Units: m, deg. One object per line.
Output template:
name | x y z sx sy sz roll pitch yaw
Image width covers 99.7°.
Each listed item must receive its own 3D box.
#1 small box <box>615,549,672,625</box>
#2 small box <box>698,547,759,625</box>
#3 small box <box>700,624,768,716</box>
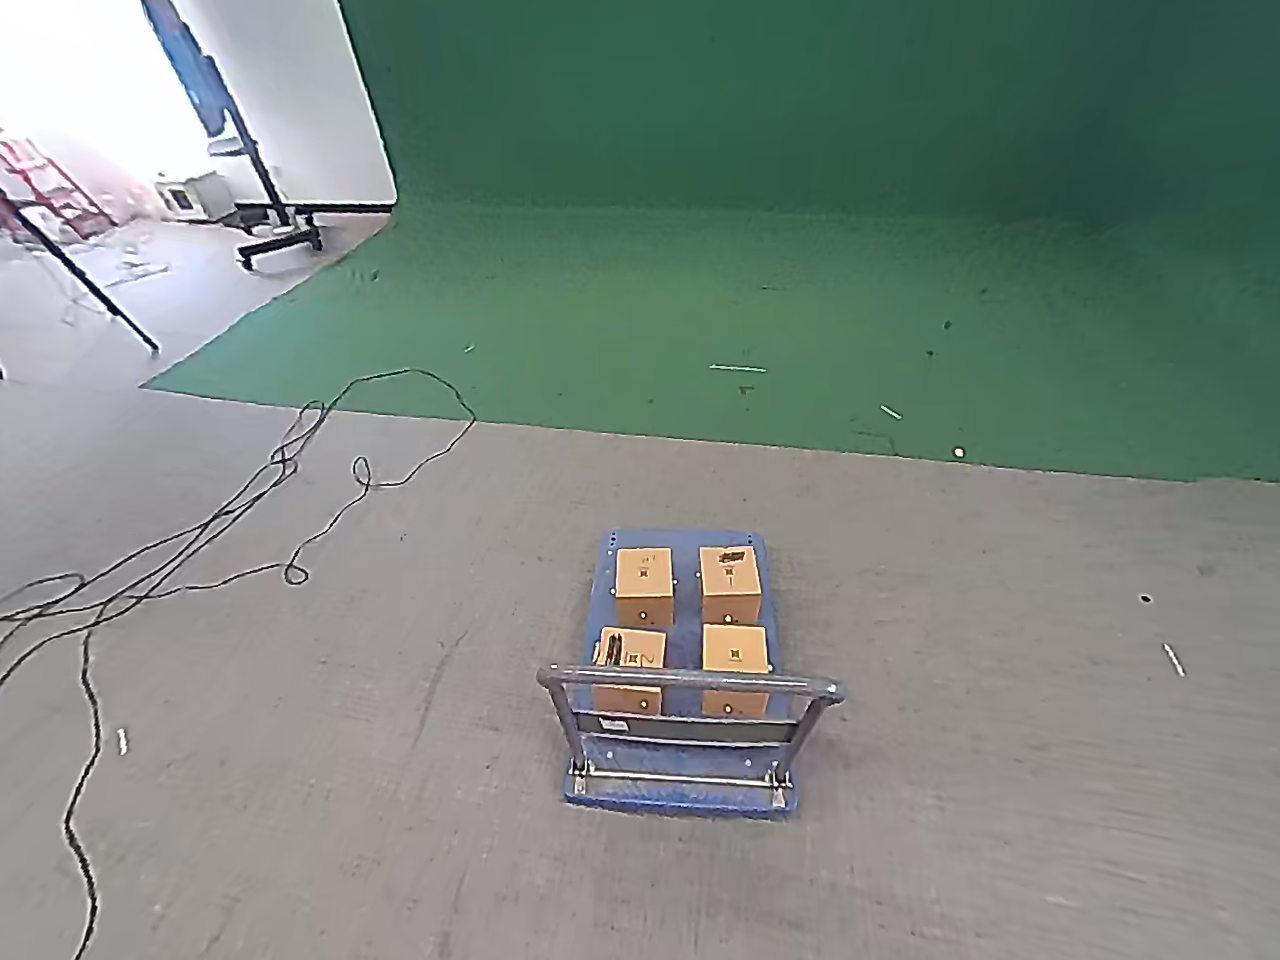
small box | 0.014 0.335 1.668 0.168 0.176 0.179 -1 44 1
small box | 0.265 0.326 1.662 0.168 0.176 0.179 -2 45 2
small box | 0.249 0.515 1.469 0.168 0.176 0.179 2 44 5
